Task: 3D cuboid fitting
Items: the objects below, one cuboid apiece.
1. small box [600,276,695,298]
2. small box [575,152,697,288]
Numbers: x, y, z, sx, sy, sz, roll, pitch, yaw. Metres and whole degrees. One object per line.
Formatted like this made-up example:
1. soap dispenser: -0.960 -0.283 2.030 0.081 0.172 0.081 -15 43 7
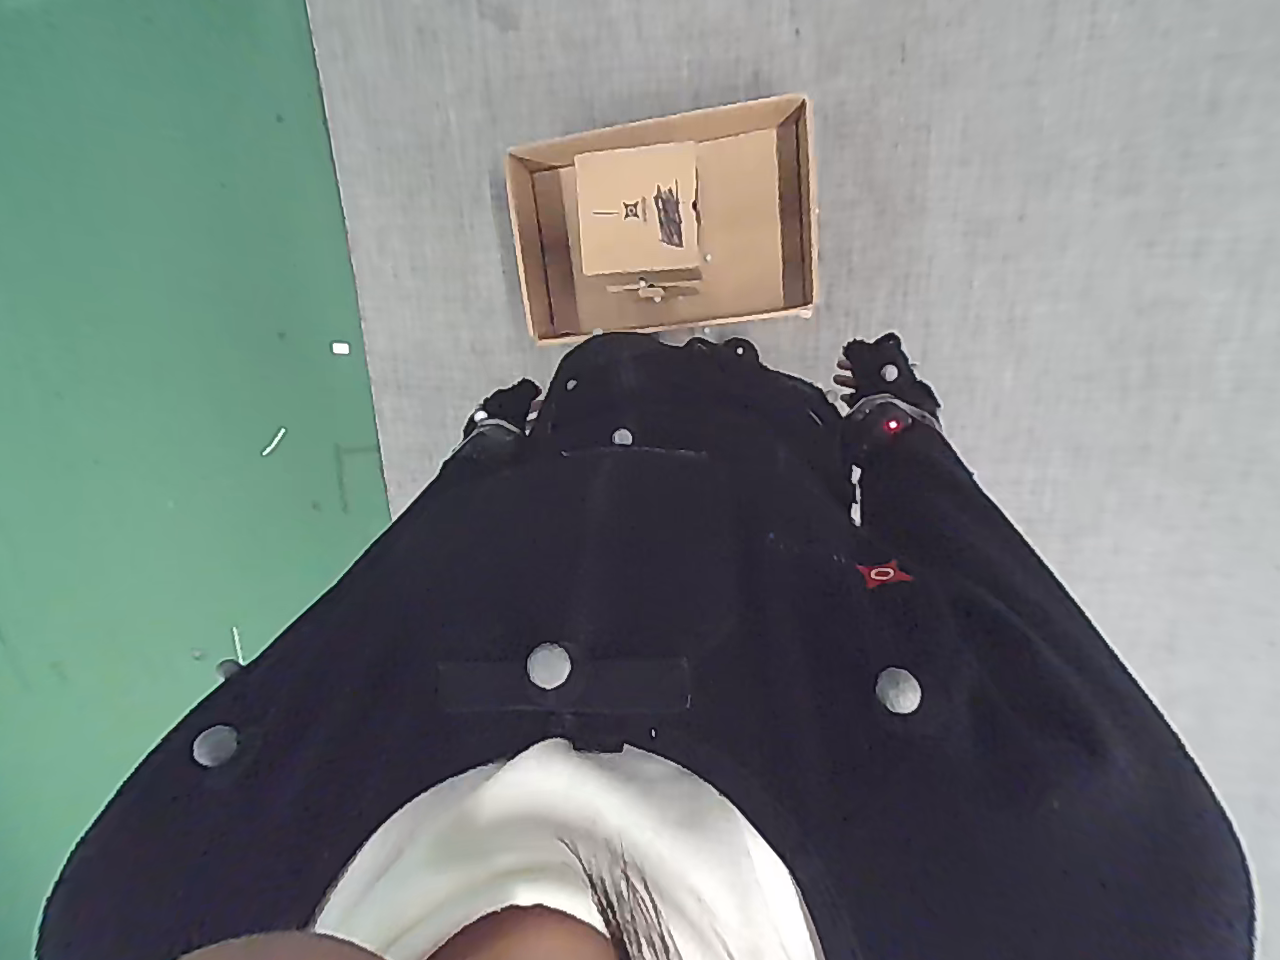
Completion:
1. small box: 0.017 -0.438 1.016 0.168 0.176 0.179 -1 105 9
2. small box: 0.003 -0.406 0.871 0.179 0.176 0.168 0 103 9
